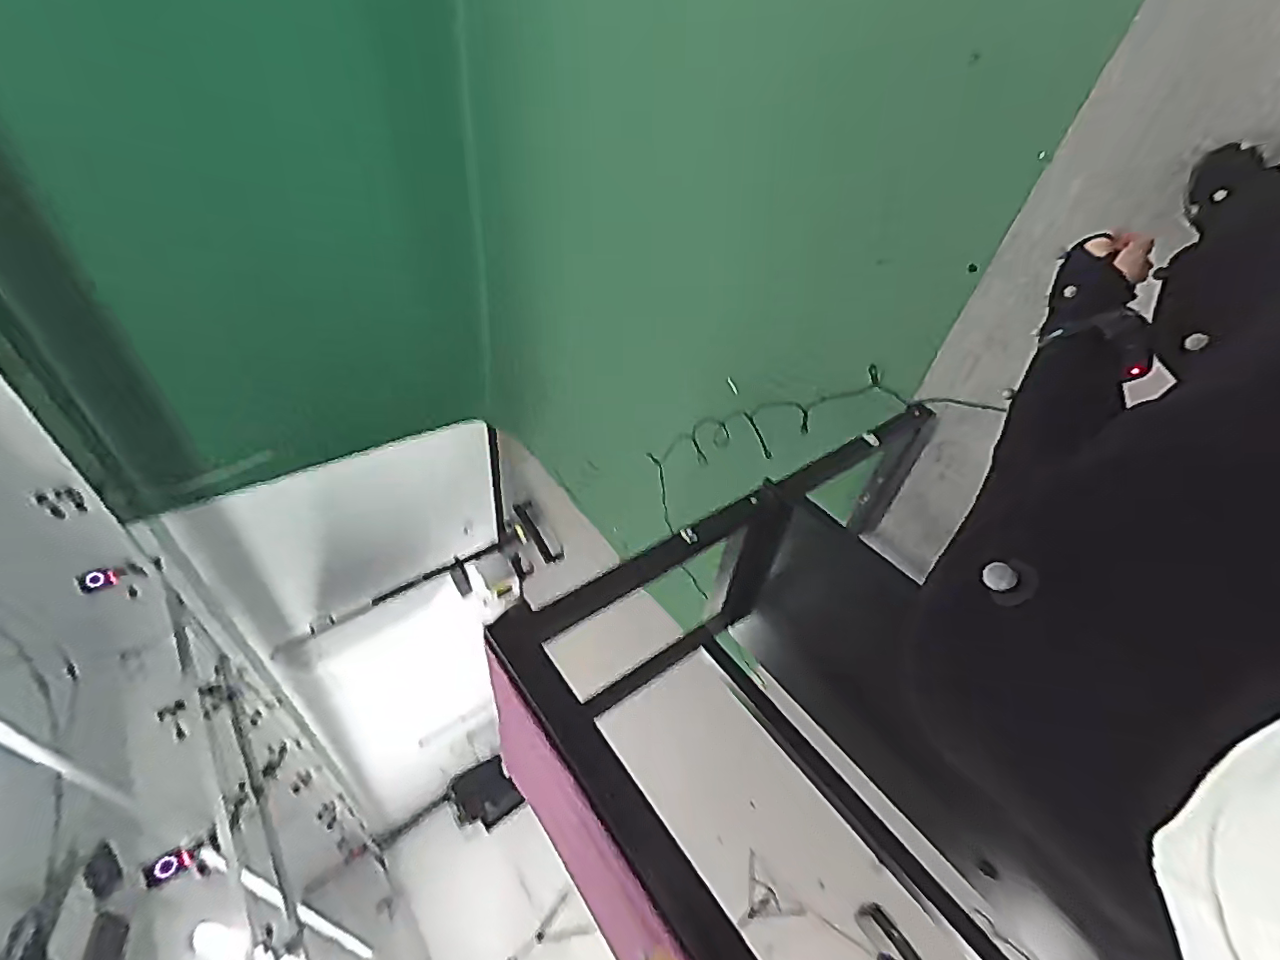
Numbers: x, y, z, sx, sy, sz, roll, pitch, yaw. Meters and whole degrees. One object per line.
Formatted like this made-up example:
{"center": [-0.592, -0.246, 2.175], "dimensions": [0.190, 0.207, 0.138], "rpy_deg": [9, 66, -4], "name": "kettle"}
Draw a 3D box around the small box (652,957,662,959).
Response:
{"center": [0.012, 0.753, 0.684], "dimensions": [0.179, 0.176, 0.168], "rpy_deg": [44, 144, 31], "name": "small box"}
